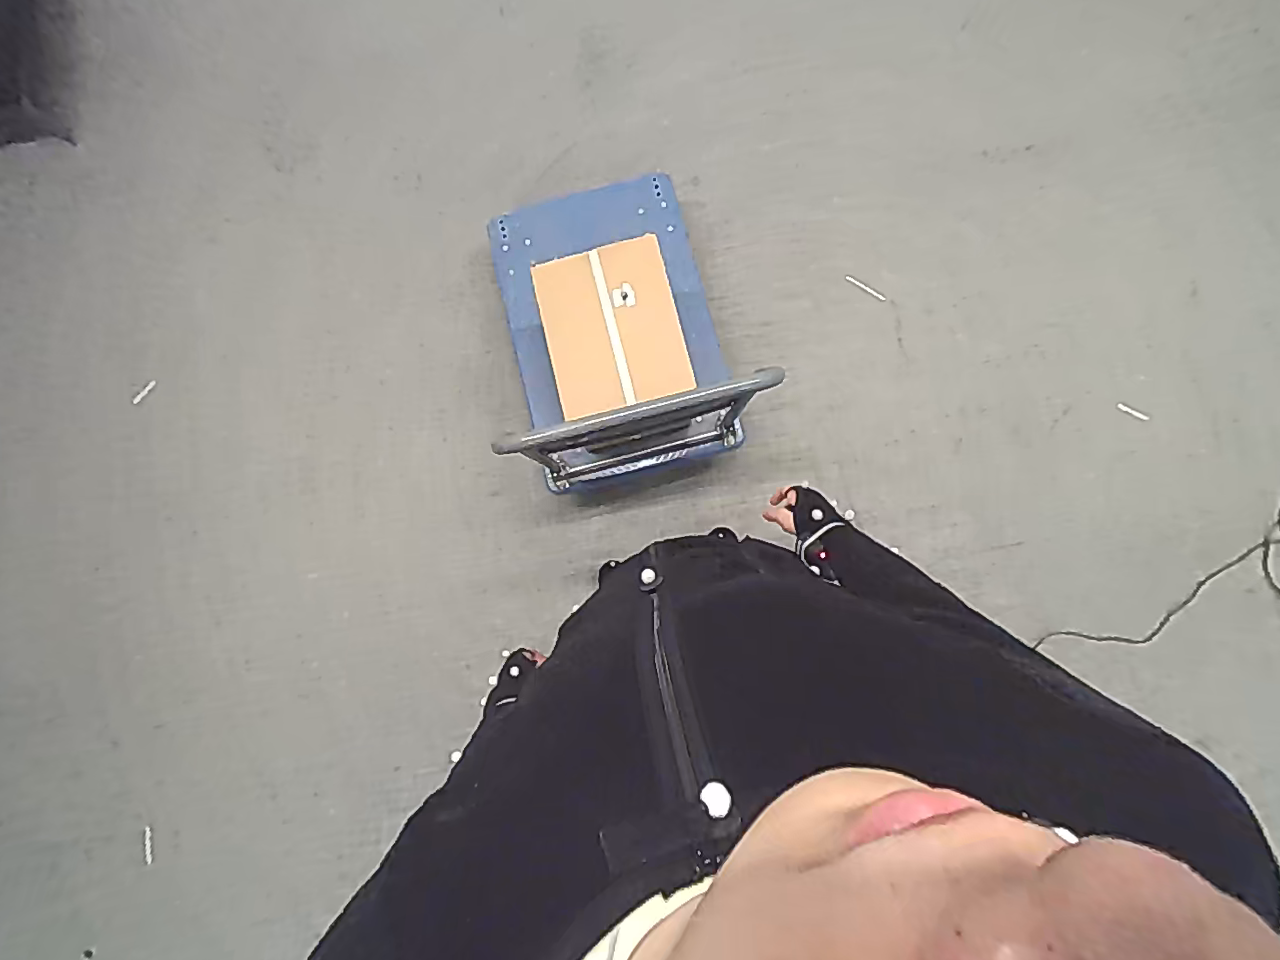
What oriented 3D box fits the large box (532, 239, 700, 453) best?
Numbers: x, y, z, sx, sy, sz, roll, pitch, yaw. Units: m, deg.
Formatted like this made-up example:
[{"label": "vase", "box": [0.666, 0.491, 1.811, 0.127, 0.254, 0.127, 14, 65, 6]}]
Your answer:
[{"label": "large box", "box": [-0.049, -0.323, 1.399, 0.320, 0.320, 0.408, -15, 81, 1]}]
